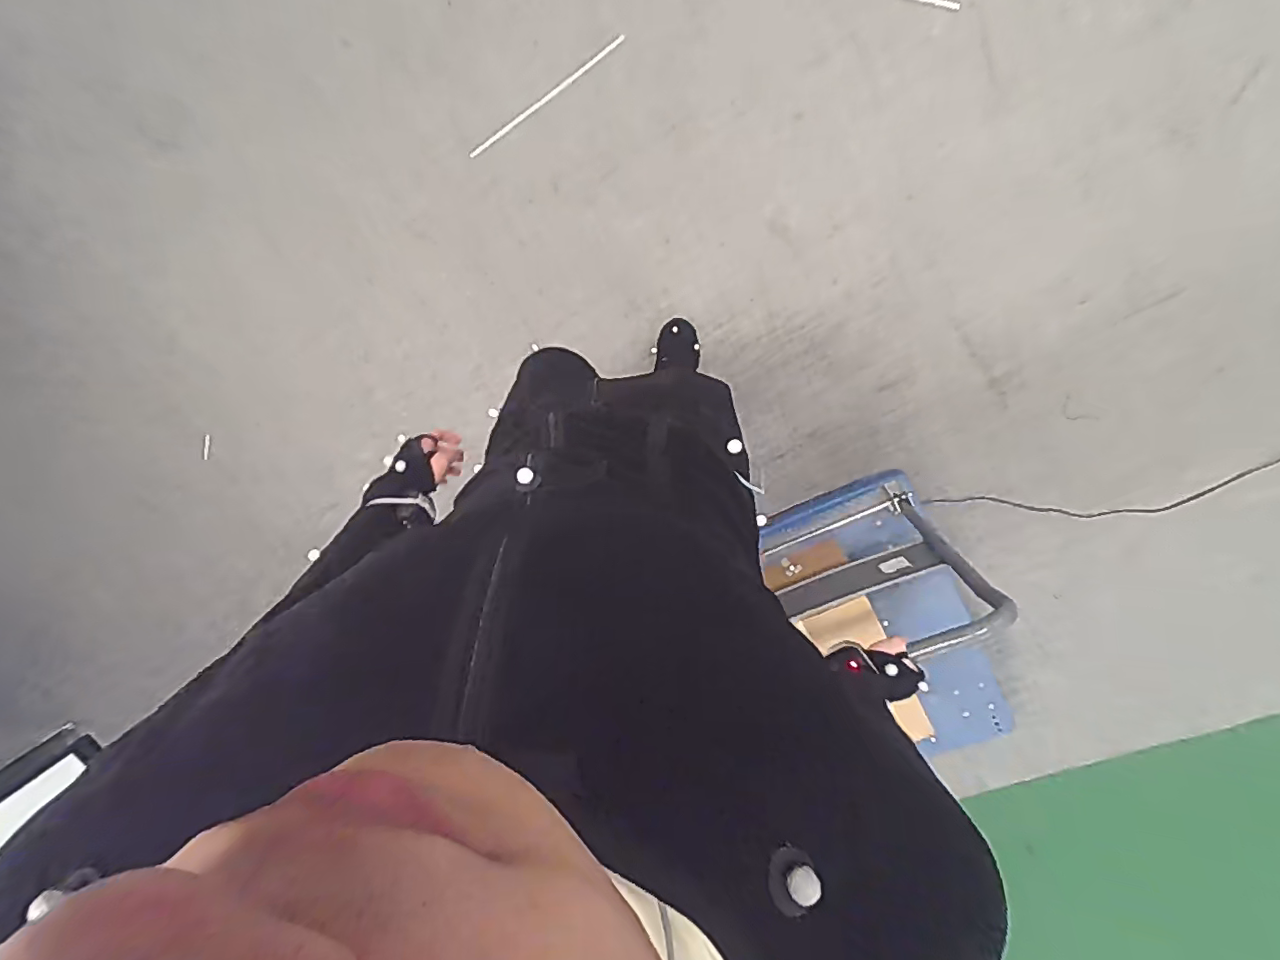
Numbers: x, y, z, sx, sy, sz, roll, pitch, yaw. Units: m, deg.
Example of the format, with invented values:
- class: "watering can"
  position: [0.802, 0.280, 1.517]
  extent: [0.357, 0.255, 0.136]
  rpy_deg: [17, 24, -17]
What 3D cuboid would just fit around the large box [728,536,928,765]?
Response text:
- class: "large box"
  position: [0.455, 0.421, 1.383]
  extent: [0.320, 0.320, 0.408]
  rpy_deg: [-26, 103, 15]
